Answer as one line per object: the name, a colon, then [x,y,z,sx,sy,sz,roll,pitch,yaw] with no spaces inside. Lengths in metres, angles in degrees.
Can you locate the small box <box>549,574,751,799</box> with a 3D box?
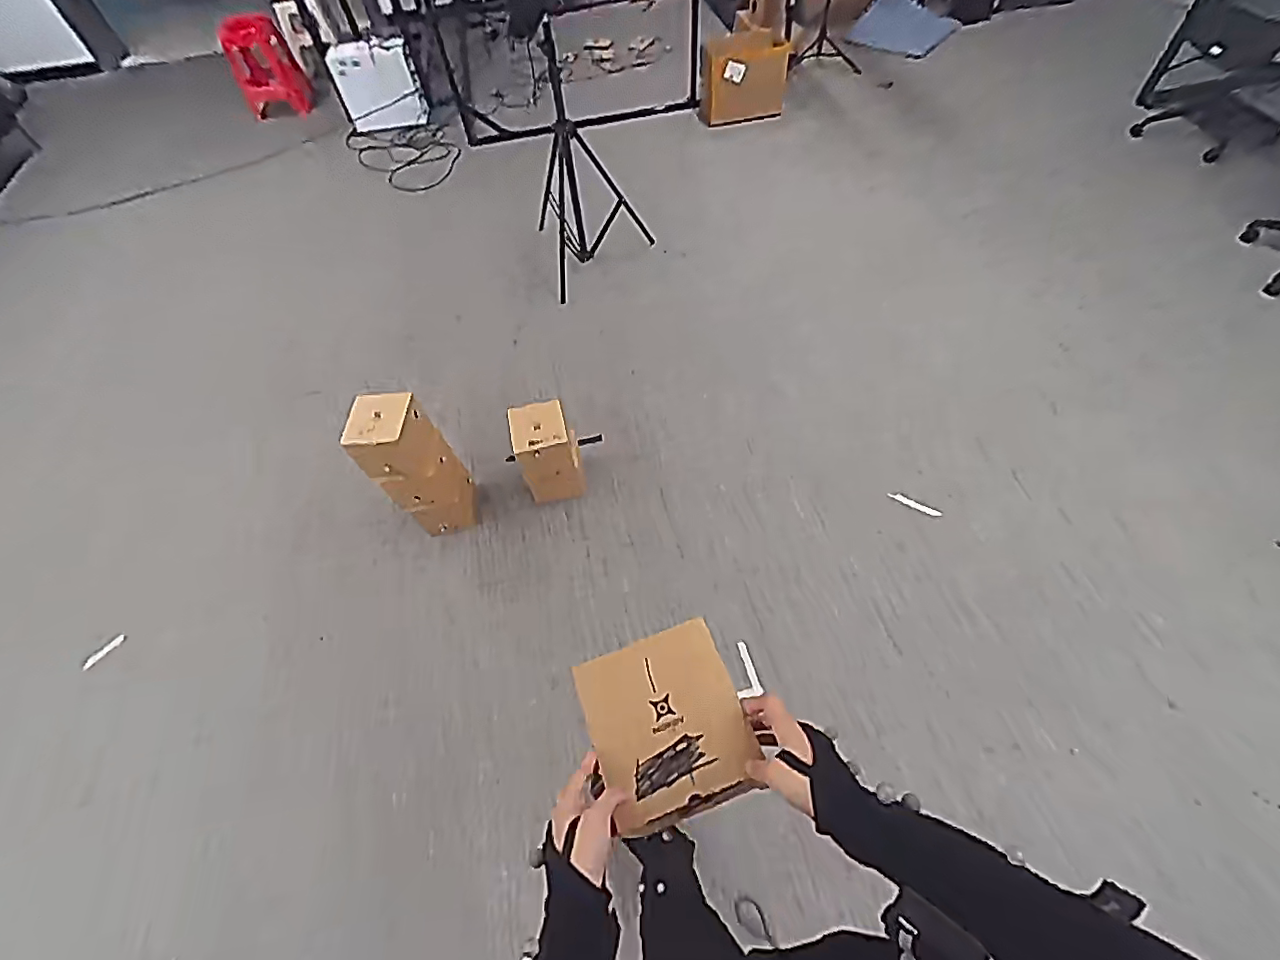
small box: [0.016,0.240,0.615,0.168,0.176,0.179,-21,56,-4]

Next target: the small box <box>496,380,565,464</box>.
small box: [-0.335,-0.176,1.664,0.168,0.176,0.179,-13,56,-4]

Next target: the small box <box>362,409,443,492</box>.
small box: [-0.710,-0.086,1.637,0.168,0.176,0.179,-9,57,0]

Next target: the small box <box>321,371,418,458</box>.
small box: [-0.740,-0.180,1.504,0.168,0.176,0.179,-4,57,3]

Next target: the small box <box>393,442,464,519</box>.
small box: [-0.687,0.003,1.770,0.168,0.176,0.179,-11,56,-2]
